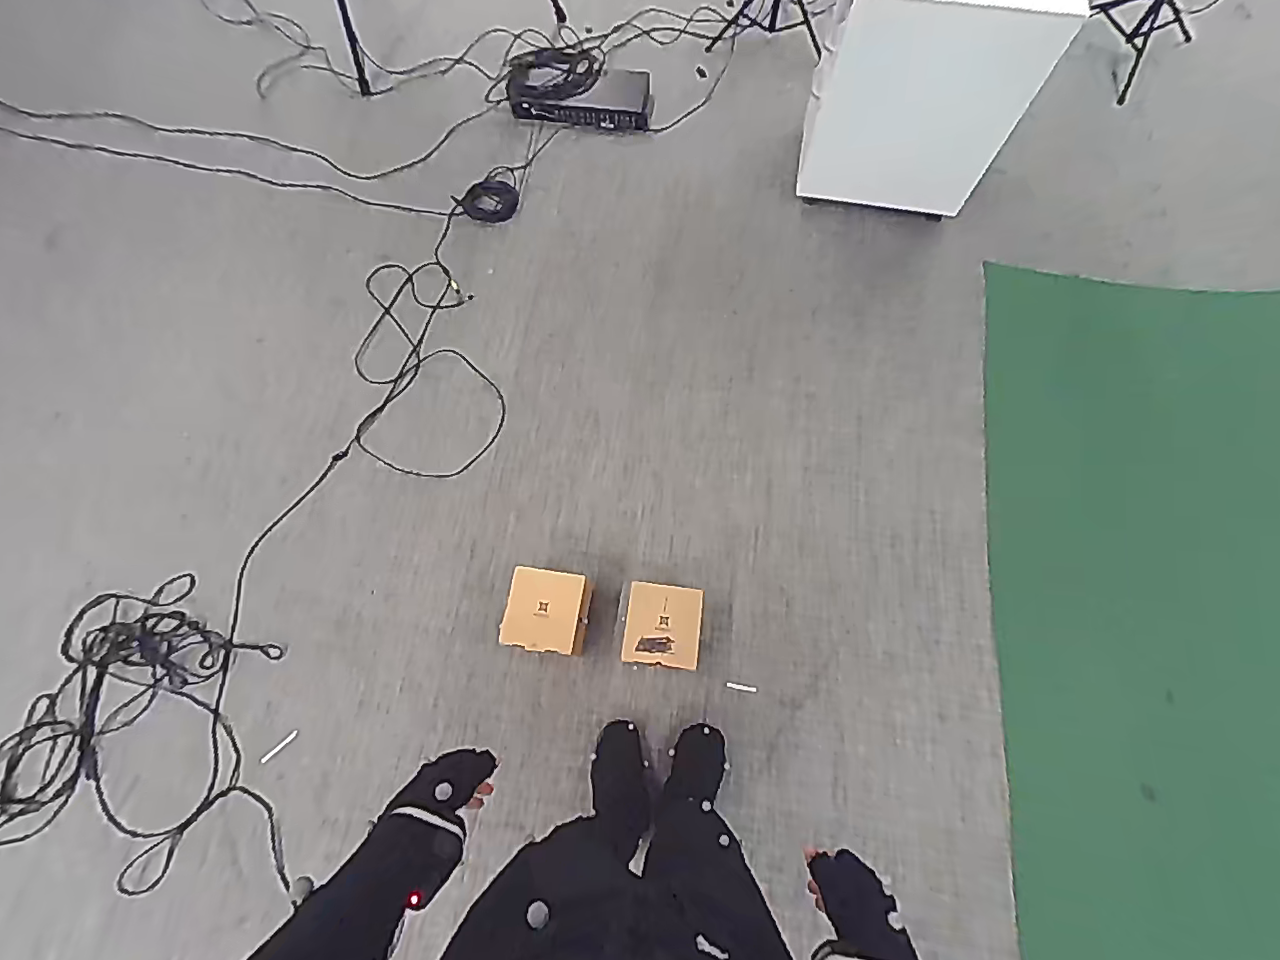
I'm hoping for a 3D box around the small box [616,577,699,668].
[{"bbox_3d":[0.042,0.340,1.269,0.168,0.176,0.179,7,69,3],"label":"small box"}]

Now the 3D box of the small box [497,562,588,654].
[{"bbox_3d":[-0.222,0.309,1.286,0.168,0.176,0.179,8,70,4],"label":"small box"}]
